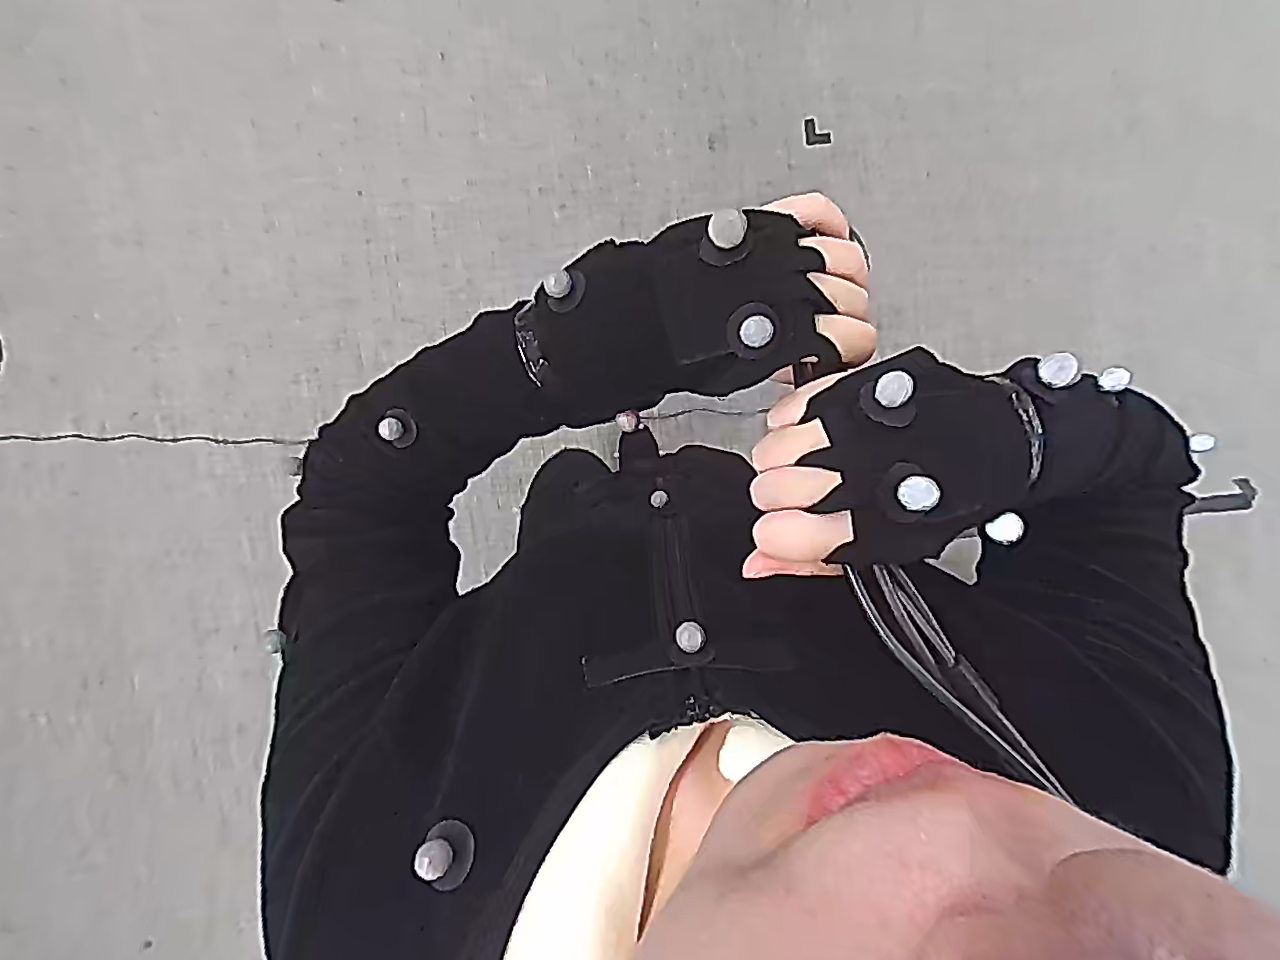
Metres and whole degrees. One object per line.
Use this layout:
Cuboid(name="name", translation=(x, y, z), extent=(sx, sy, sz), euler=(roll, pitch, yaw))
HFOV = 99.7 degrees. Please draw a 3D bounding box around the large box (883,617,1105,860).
Cuboid(name="large box", translation=(0.777, 0.559, 1.236), extent=(0.320, 0.320, 0.408), euler=(-1, 94, -2))
